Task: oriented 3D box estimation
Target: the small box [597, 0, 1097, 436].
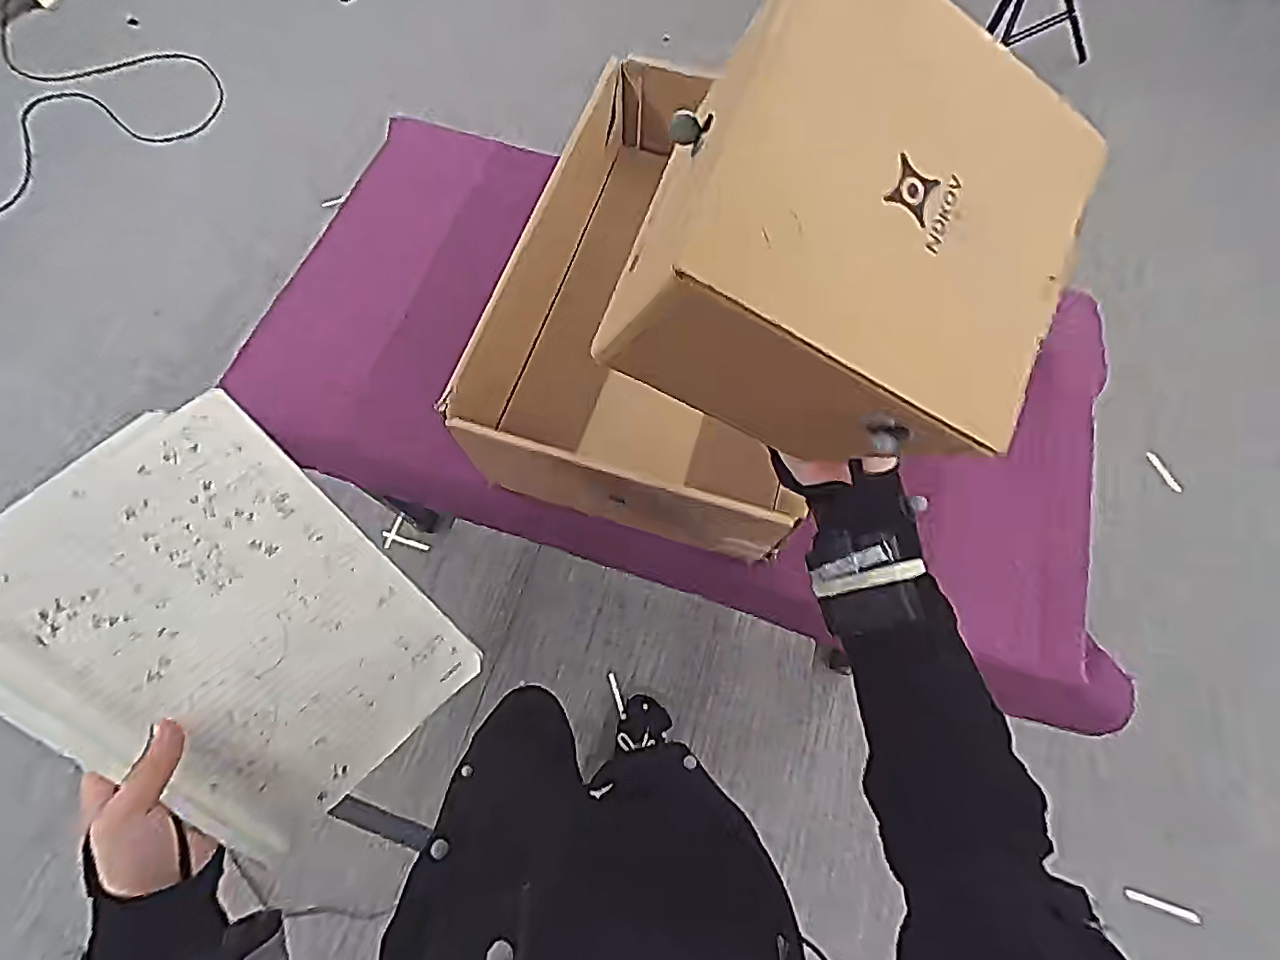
[{"bbox_3d":[0.093,-0.131,0.307,0.179,0.176,0.168,24,84,-17],"label":"small box"}]
